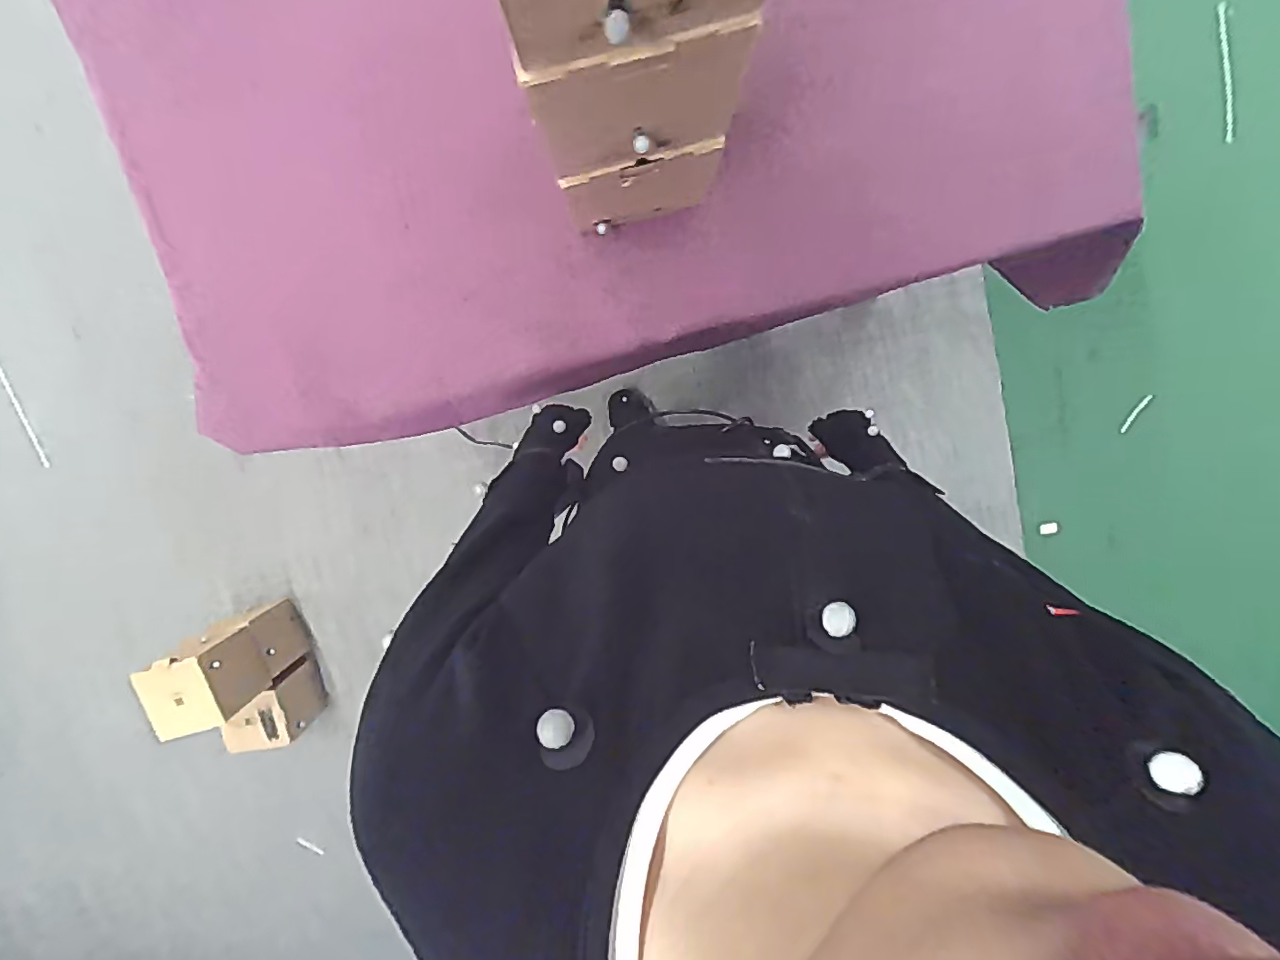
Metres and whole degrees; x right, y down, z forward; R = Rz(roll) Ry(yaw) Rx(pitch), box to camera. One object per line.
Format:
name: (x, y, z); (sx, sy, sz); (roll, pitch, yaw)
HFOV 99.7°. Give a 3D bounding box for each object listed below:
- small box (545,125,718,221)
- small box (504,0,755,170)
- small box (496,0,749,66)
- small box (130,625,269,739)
small box: (-0.020, -0.402, 0.587); (0.168, 0.176, 0.179); (-13, 99, 2)
small box: (-0.023, -0.382, 0.423); (0.168, 0.176, 0.179); (-13, 100, 2)
small box: (-0.022, -0.358, 0.262); (0.168, 0.176, 0.179); (-14, 100, 3)
small box: (-1.046, 0.480, 1.303); (0.168, 0.176, 0.179); (-16, 99, 2)
